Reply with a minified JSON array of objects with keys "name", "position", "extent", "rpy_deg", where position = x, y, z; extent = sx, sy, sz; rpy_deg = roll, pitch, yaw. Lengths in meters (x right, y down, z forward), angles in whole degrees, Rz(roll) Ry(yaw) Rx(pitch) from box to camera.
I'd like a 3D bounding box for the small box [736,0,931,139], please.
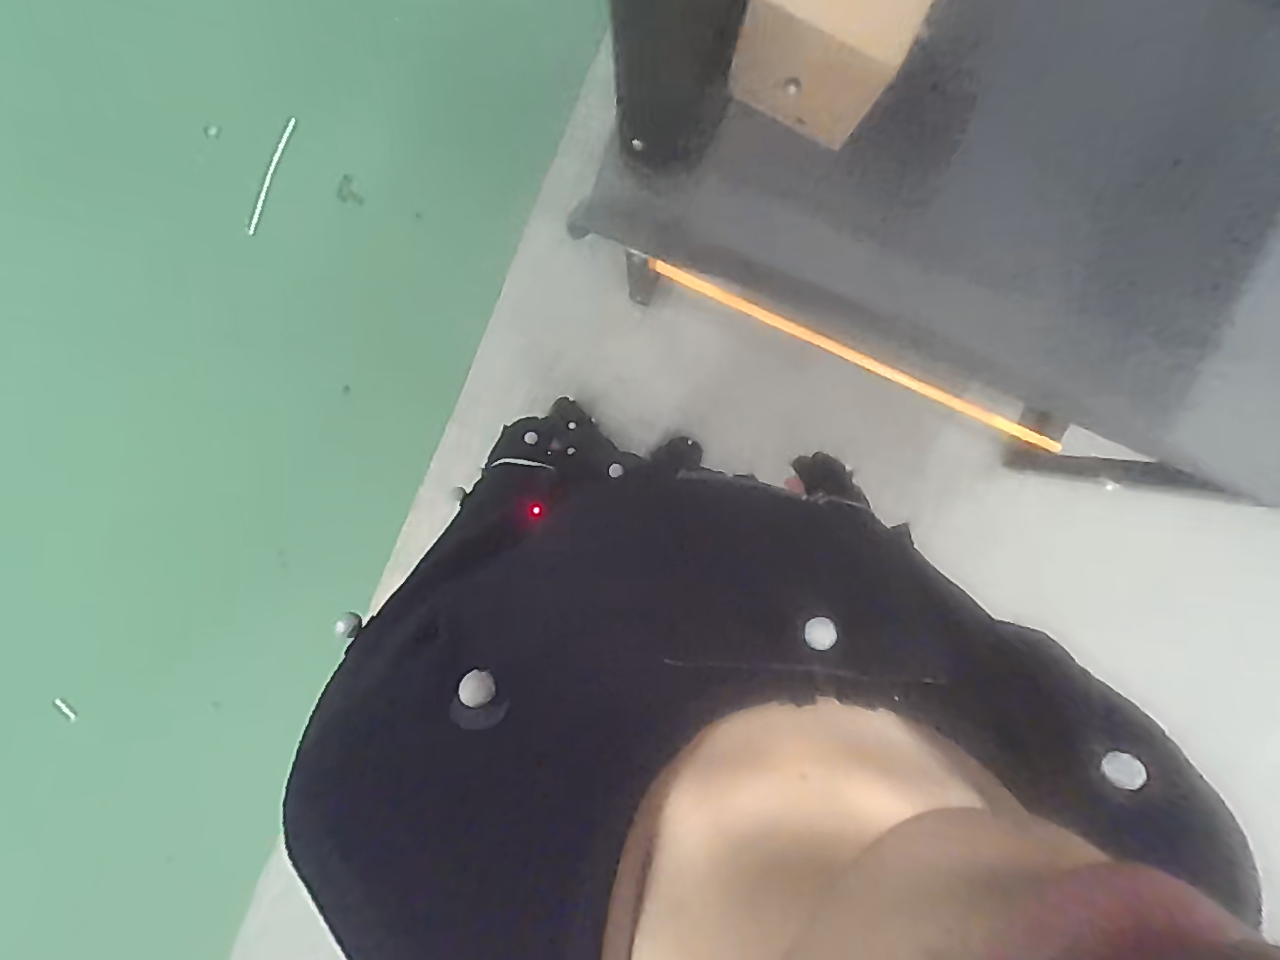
[{"name":"small box","position":[0.219,-0.525,0.596],"extent":[0.168,0.176,0.179],"rpy_deg":[26,95,-3]}]
